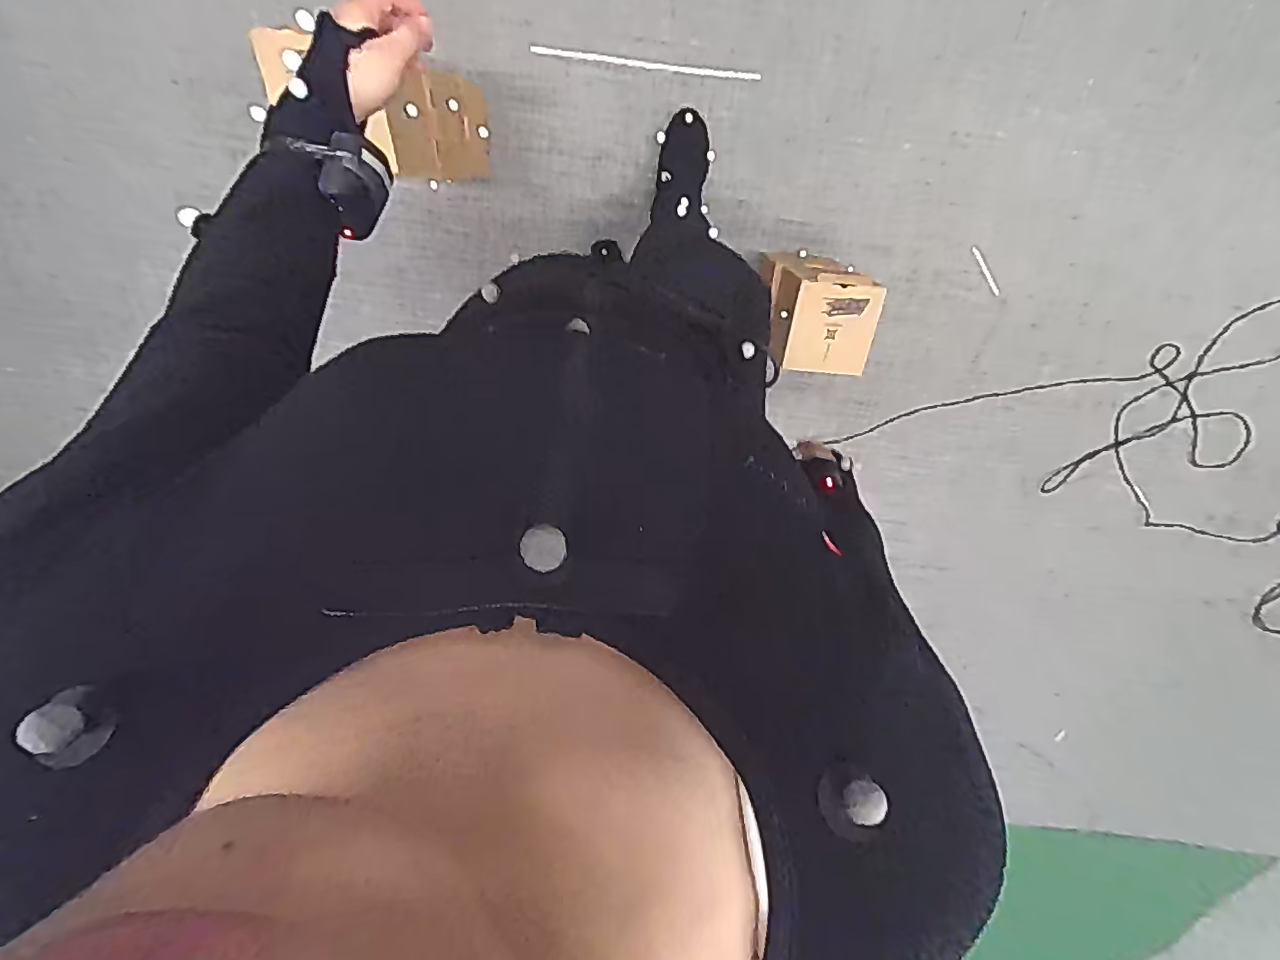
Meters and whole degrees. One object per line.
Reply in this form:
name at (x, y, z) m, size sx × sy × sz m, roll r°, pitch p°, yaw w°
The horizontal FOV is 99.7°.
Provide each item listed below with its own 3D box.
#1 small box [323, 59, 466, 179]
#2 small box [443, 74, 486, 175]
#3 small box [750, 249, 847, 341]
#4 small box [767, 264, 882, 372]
small box at (-0.430, -0.648, 0.986) m, size 0.179 × 0.176 × 0.168 m, roll 3°, pitch 118°, yaw 2°
small box at (-0.424, -0.737, 1.122) m, size 0.179 × 0.176 × 0.168 m, roll 4°, pitch 119°, yaw -1°
small box at (0.358, -0.428, 1.260) m, size 0.168 × 0.176 × 0.179 m, roll 4°, pitch 120°, yaw -1°
small box at (0.369, -0.340, 1.121) m, size 0.168 × 0.176 × 0.179 m, roll 5°, pitch 121°, yaw -1°
